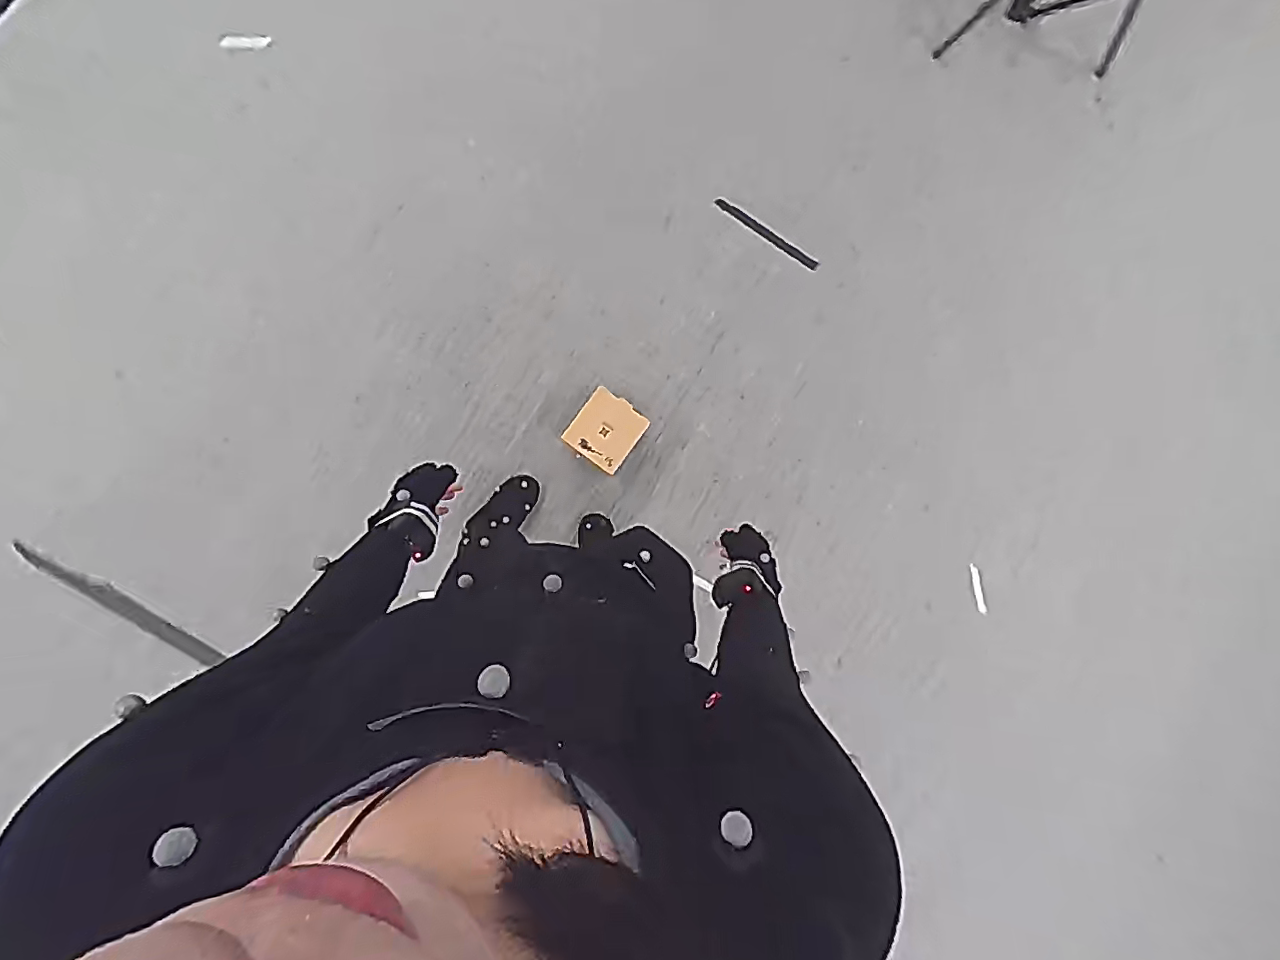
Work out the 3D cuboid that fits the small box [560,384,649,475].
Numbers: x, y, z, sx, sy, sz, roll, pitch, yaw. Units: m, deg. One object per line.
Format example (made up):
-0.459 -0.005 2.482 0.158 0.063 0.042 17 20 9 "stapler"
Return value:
-0.102 -0.129 1.462 0.168 0.176 0.179 38 84 -5 "small box"
